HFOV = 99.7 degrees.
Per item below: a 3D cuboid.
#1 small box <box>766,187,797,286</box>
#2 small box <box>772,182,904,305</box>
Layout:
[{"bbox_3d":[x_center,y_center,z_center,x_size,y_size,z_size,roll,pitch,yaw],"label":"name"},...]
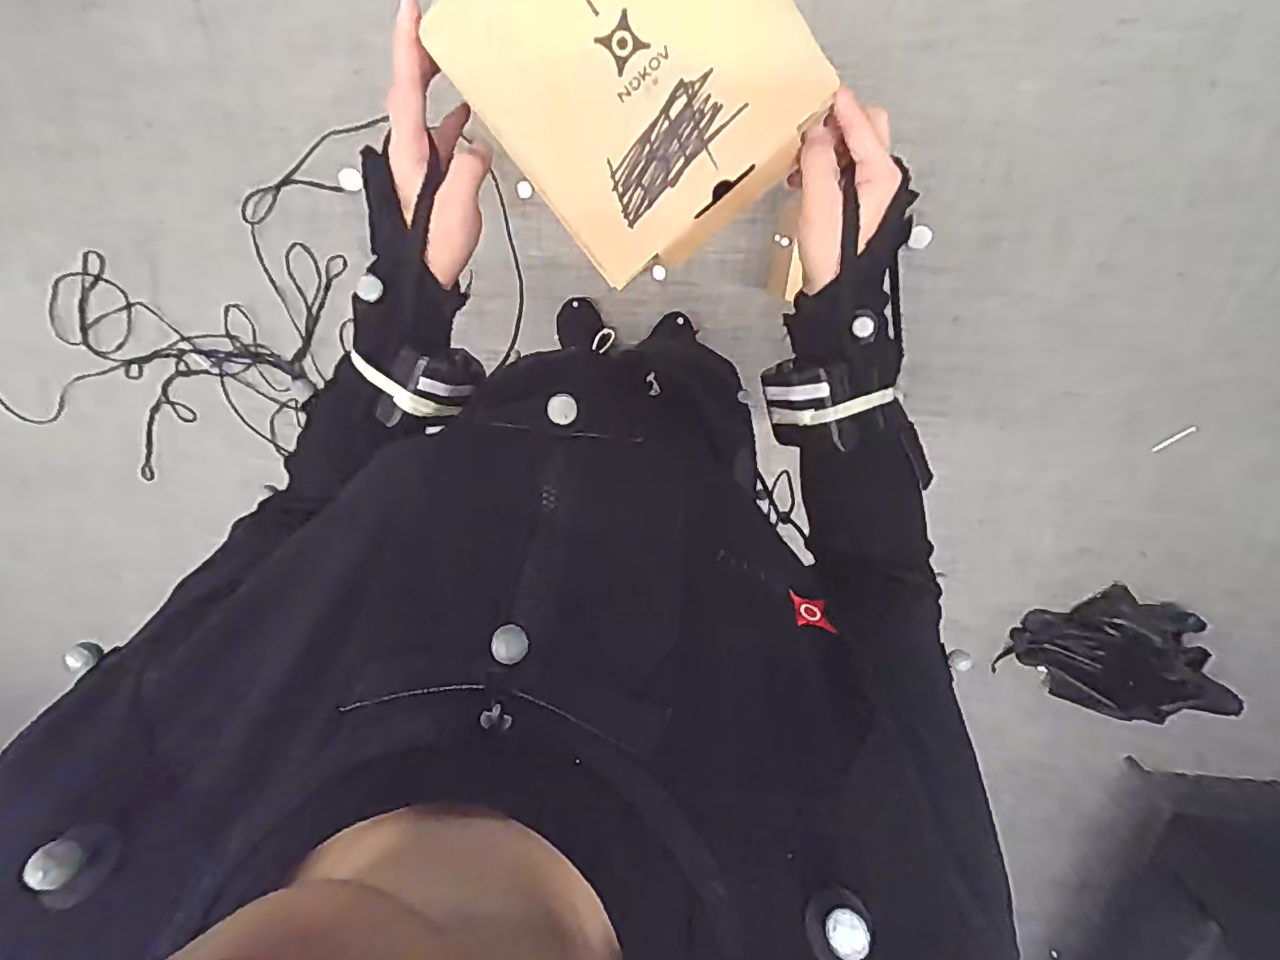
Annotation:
[{"bbox_3d":[0.365,-0.489,1.119,0.168,0.176,0.179,6,110,2],"label":"small box"},{"bbox_3d":[0.341,-0.419,0.973,0.168,0.176,0.179,7,111,2],"label":"small box"}]
